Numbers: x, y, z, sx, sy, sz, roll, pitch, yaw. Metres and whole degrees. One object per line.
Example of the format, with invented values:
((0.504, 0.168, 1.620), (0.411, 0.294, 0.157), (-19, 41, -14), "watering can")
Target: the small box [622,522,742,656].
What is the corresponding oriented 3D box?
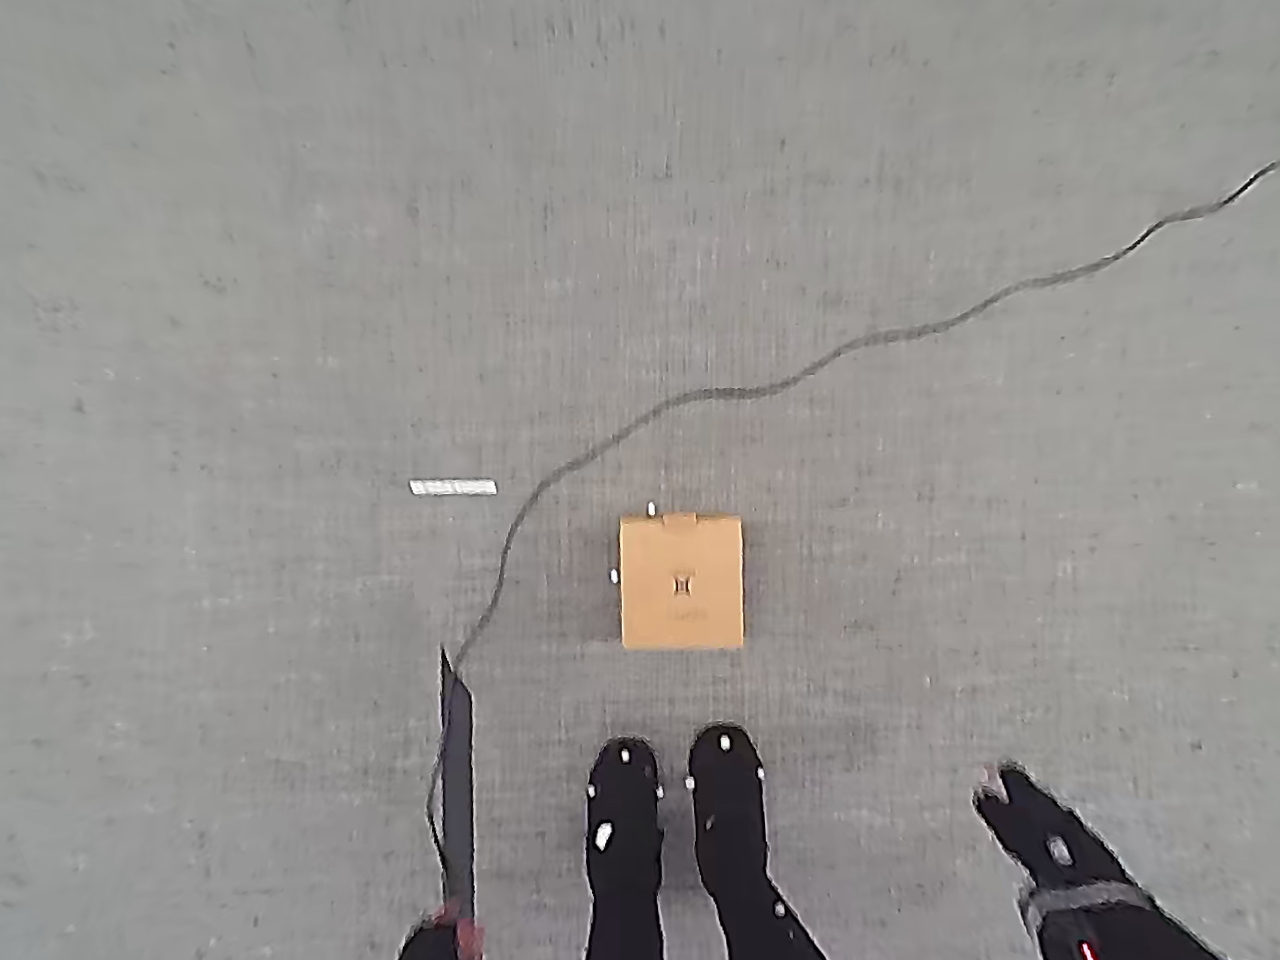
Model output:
((0.056, 0.152, 0.810), (0.168, 0.176, 0.179), (-1, 89, 0), "small box")
